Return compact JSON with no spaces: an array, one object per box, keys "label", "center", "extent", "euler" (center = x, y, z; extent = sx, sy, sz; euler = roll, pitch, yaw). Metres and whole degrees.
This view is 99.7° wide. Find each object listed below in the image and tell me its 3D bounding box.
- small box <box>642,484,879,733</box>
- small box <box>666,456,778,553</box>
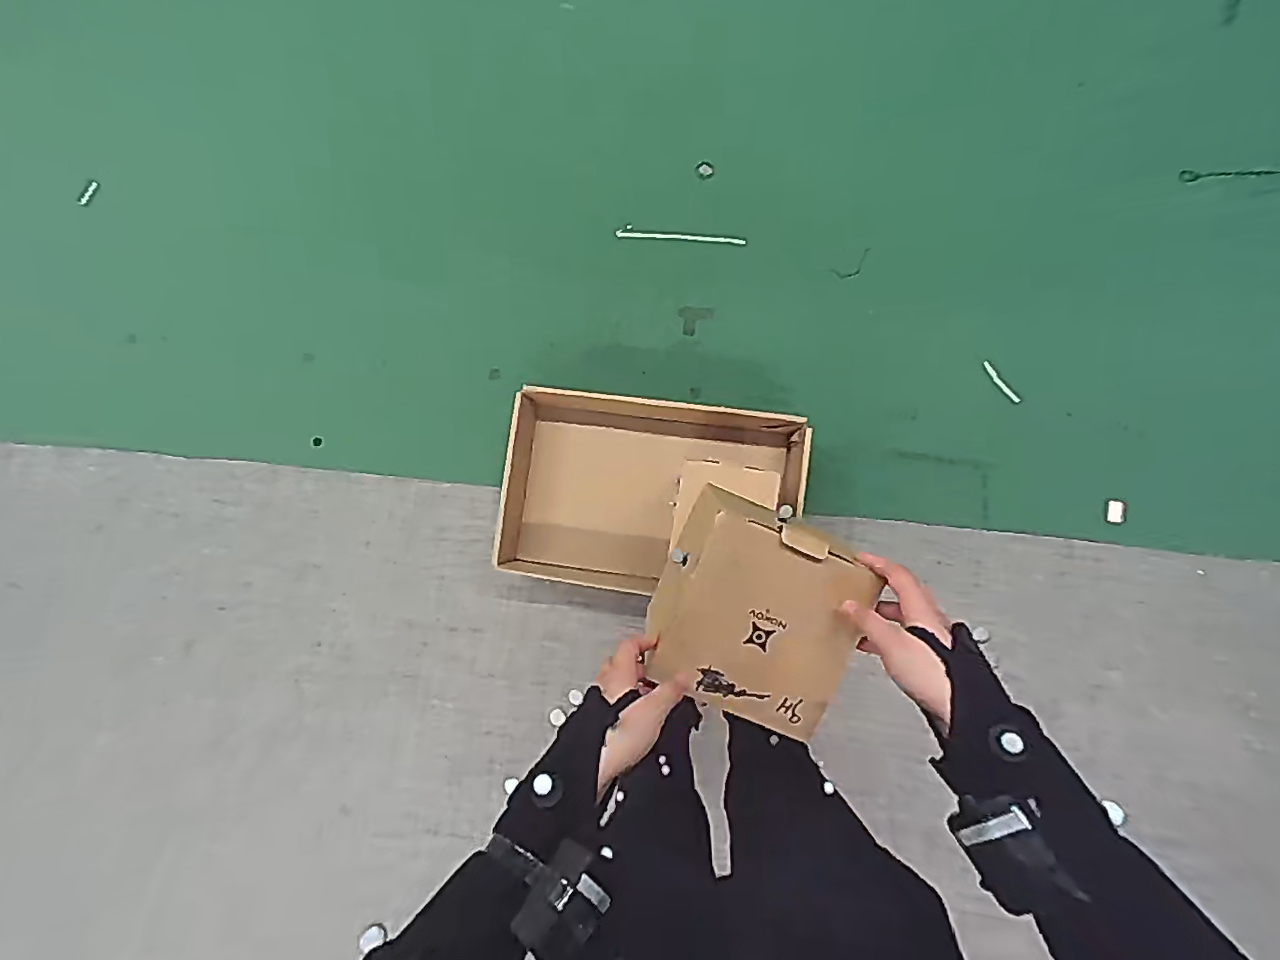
[{"label":"small box","center":[0.108,0.116,0.565],"extent":[0.168,0.176,0.179],"euler":[22,98,-1]},{"label":"small box","center":[0.143,0.061,0.976],"extent":[0.168,0.176,0.179],"euler":[9,89,6]}]
